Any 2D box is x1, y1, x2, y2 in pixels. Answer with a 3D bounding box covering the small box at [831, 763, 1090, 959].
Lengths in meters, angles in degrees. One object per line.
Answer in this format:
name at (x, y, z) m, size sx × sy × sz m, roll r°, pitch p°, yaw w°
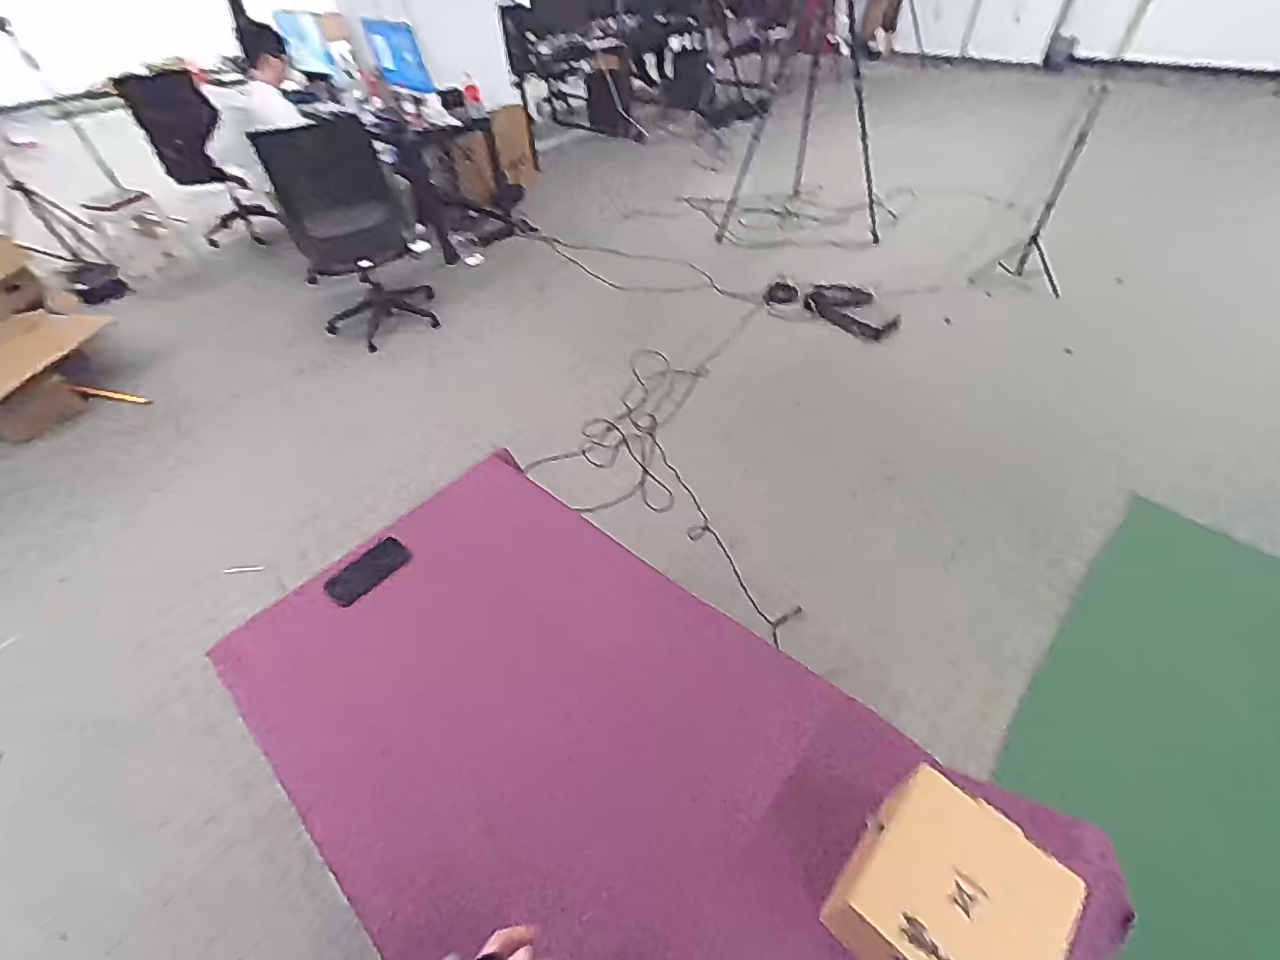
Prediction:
small box at (0.330, 0.457, 0.587) m, size 0.168 × 0.176 × 0.179 m, roll 32°, pitch 57°, yaw 31°
